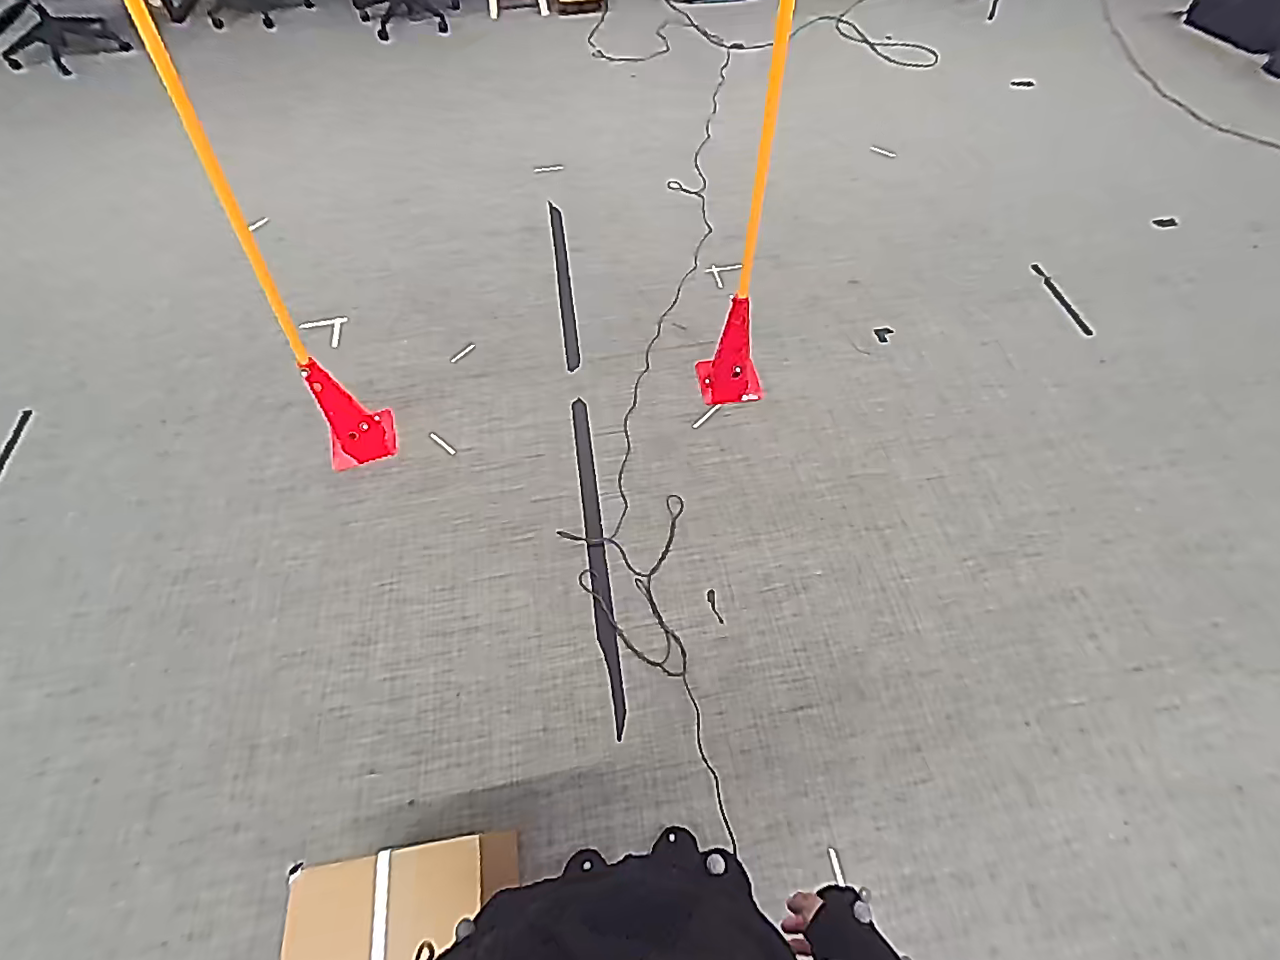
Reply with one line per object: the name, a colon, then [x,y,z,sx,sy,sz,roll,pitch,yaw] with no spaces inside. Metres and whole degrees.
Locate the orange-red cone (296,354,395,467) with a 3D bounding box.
orange-red cone: [-0.892,-0.228,1.583,0.199,0.360,0.198,-17,59,-8]
